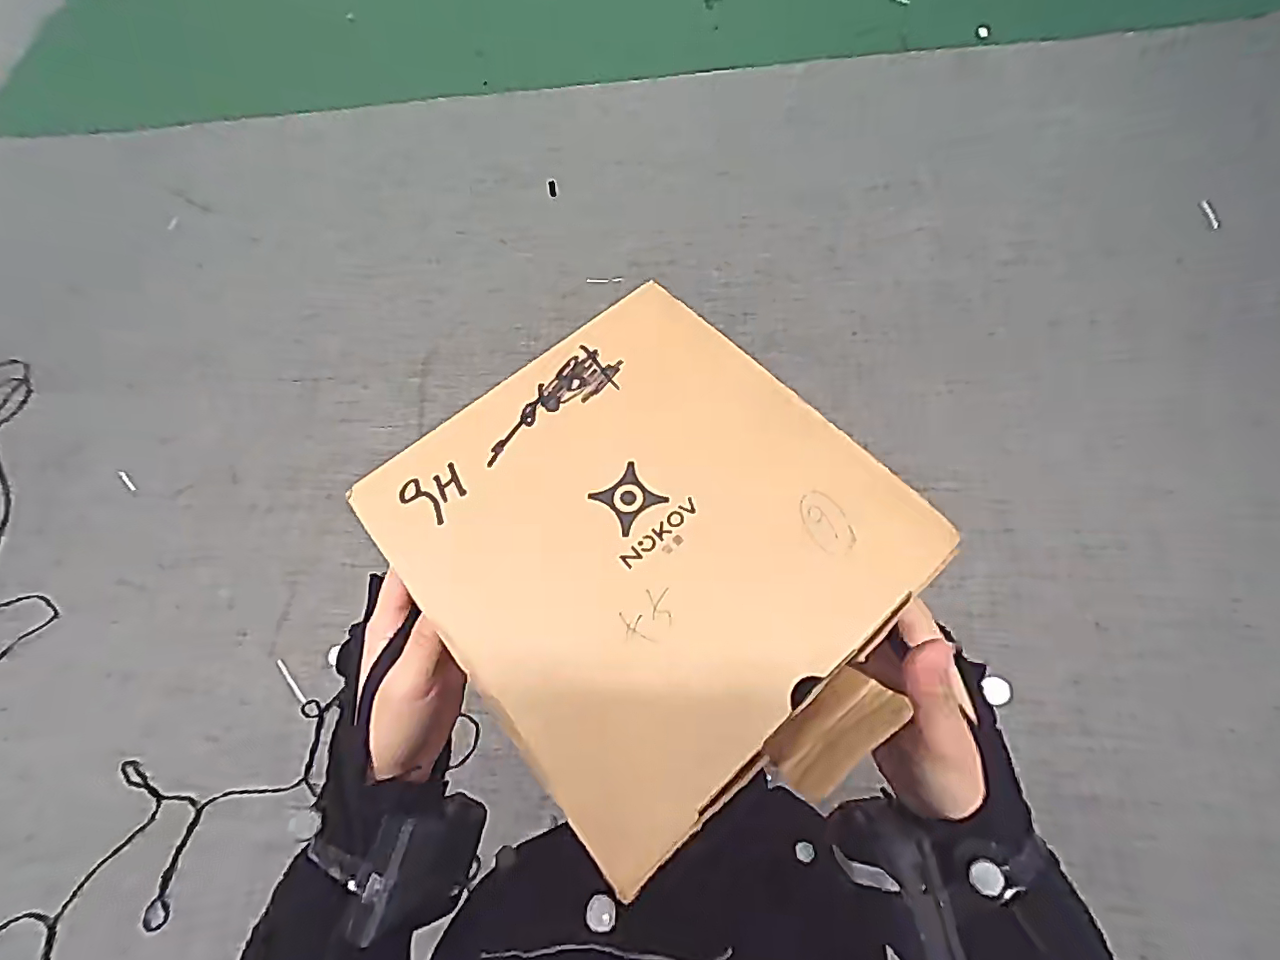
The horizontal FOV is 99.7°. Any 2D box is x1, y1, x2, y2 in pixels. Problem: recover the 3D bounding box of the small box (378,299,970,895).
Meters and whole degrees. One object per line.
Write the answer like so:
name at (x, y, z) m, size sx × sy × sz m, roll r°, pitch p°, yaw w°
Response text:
small box at (0.011, 0.052, 0.283) m, size 0.168 × 0.176 × 0.179 m, roll -37°, pitch 69°, yaw -13°
